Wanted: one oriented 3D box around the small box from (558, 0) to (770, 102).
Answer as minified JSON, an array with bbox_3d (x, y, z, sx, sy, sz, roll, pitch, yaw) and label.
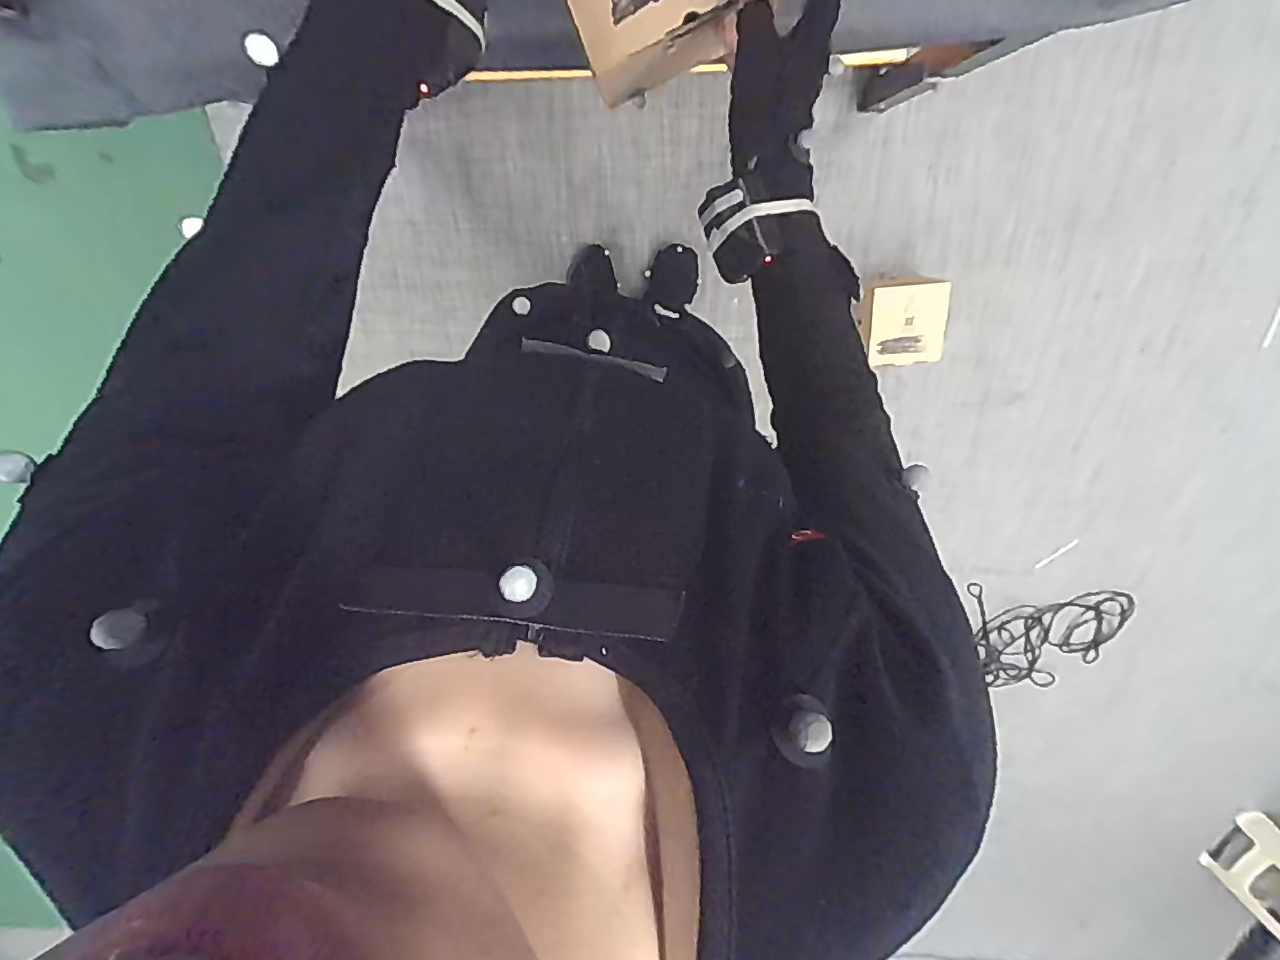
[{"bbox_3d":[0.006,-0.445,0.447,0.168,0.176,0.179,-20,114,11],"label":"small box"}]
